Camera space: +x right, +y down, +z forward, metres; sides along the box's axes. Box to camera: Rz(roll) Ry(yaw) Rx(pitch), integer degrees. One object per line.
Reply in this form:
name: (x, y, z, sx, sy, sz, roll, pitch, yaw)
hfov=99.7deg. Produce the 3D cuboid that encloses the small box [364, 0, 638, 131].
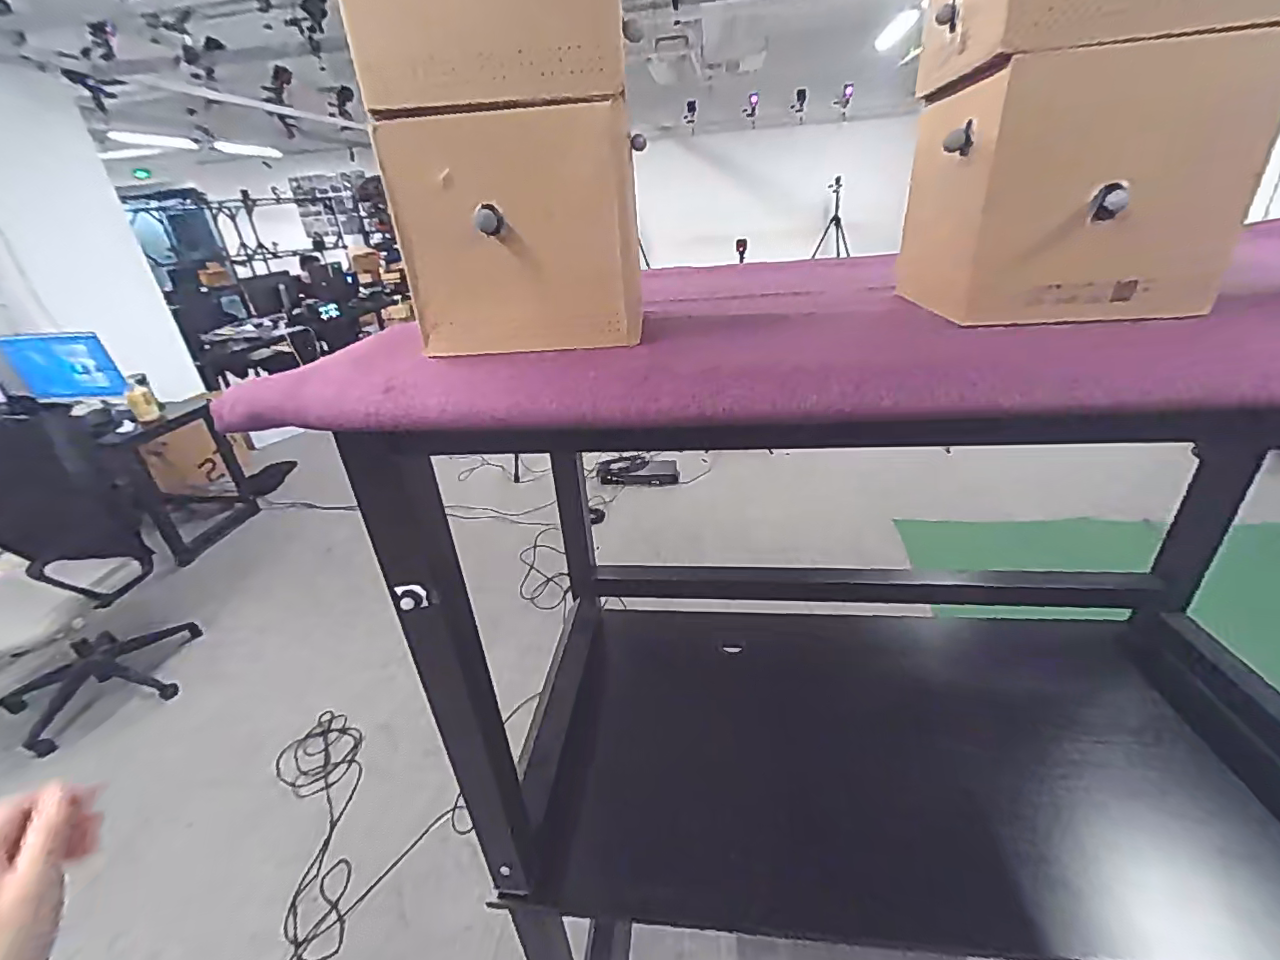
small box: (-0.094, -0.357, 0.400, 0.179, 0.176, 0.168, -2, 28, 1)

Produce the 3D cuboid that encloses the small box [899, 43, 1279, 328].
small box: (0.331, -0.222, 0.441, 0.168, 0.176, 0.179, 1, 27, 8)

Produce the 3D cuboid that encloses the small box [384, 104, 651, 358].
small box: (-0.085, -0.211, 0.477, 0.179, 0.176, 0.168, -3, 28, 3)
